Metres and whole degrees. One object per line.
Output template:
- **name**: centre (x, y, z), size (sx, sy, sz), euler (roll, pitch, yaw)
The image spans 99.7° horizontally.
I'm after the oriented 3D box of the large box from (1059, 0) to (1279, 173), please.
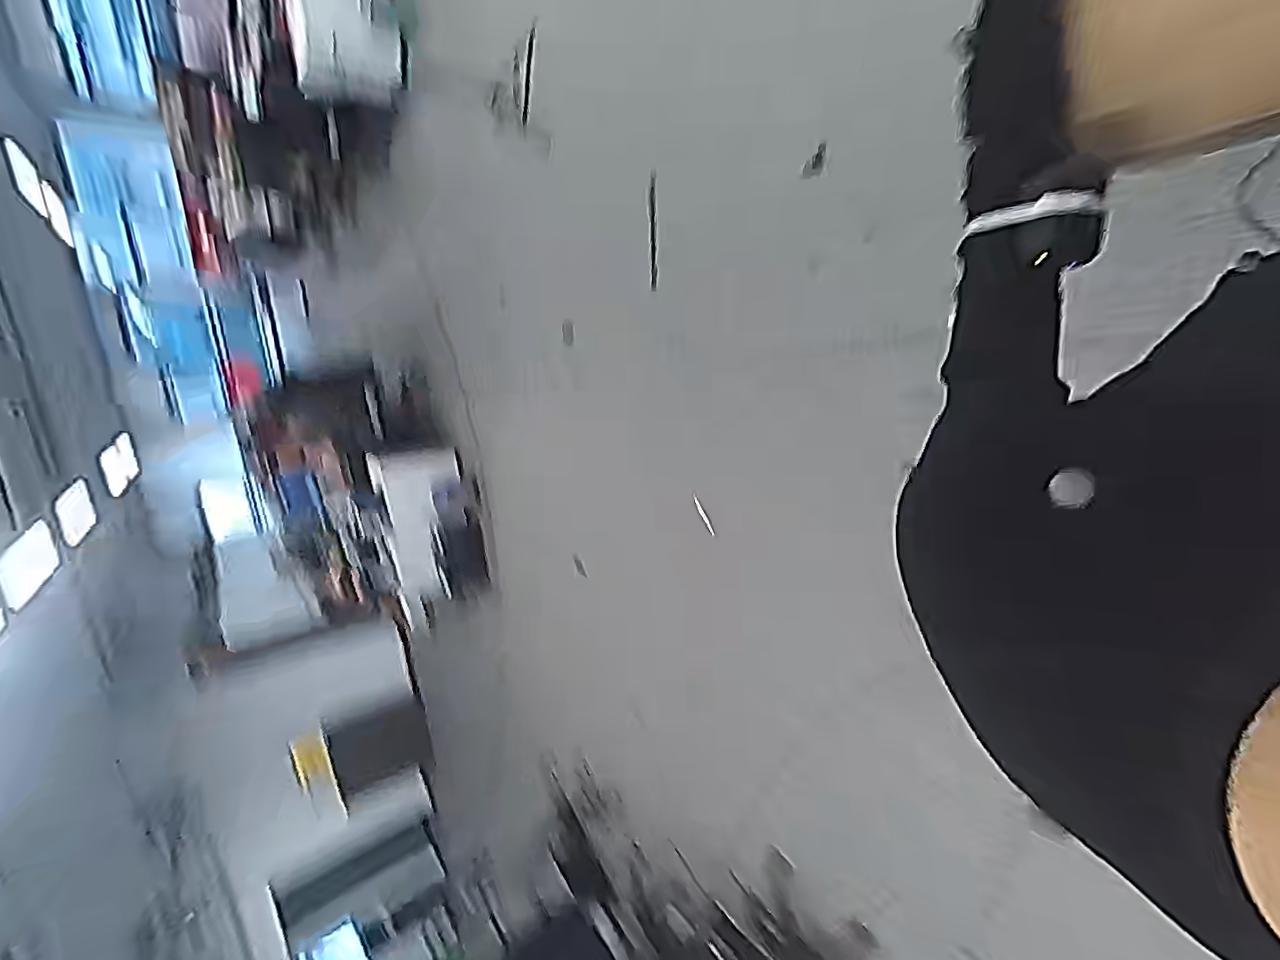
- **large box**: centre (0.542, -0.435, 0.342), size (0.408, 0.320, 0.320), euler (3, 113, 49)
